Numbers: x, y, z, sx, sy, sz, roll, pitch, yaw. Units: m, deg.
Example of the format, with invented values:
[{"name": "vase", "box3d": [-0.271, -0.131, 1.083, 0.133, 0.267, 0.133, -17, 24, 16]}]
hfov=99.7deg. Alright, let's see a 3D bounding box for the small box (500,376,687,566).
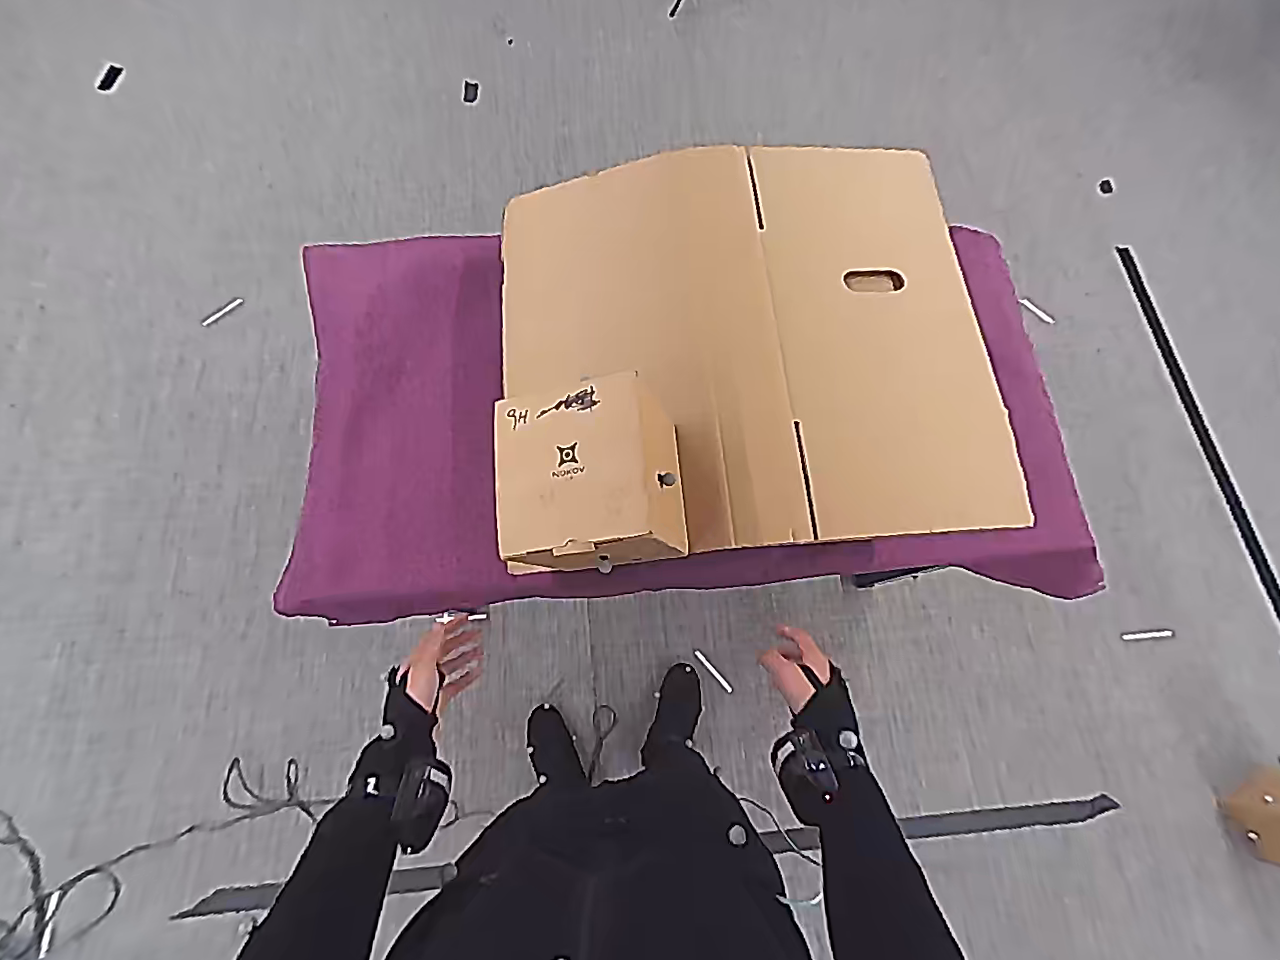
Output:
[{"name": "small box", "box3d": [-0.047, 0.005, 0.631, 0.168, 0.176, 0.179, -10, 74, 15]}]
